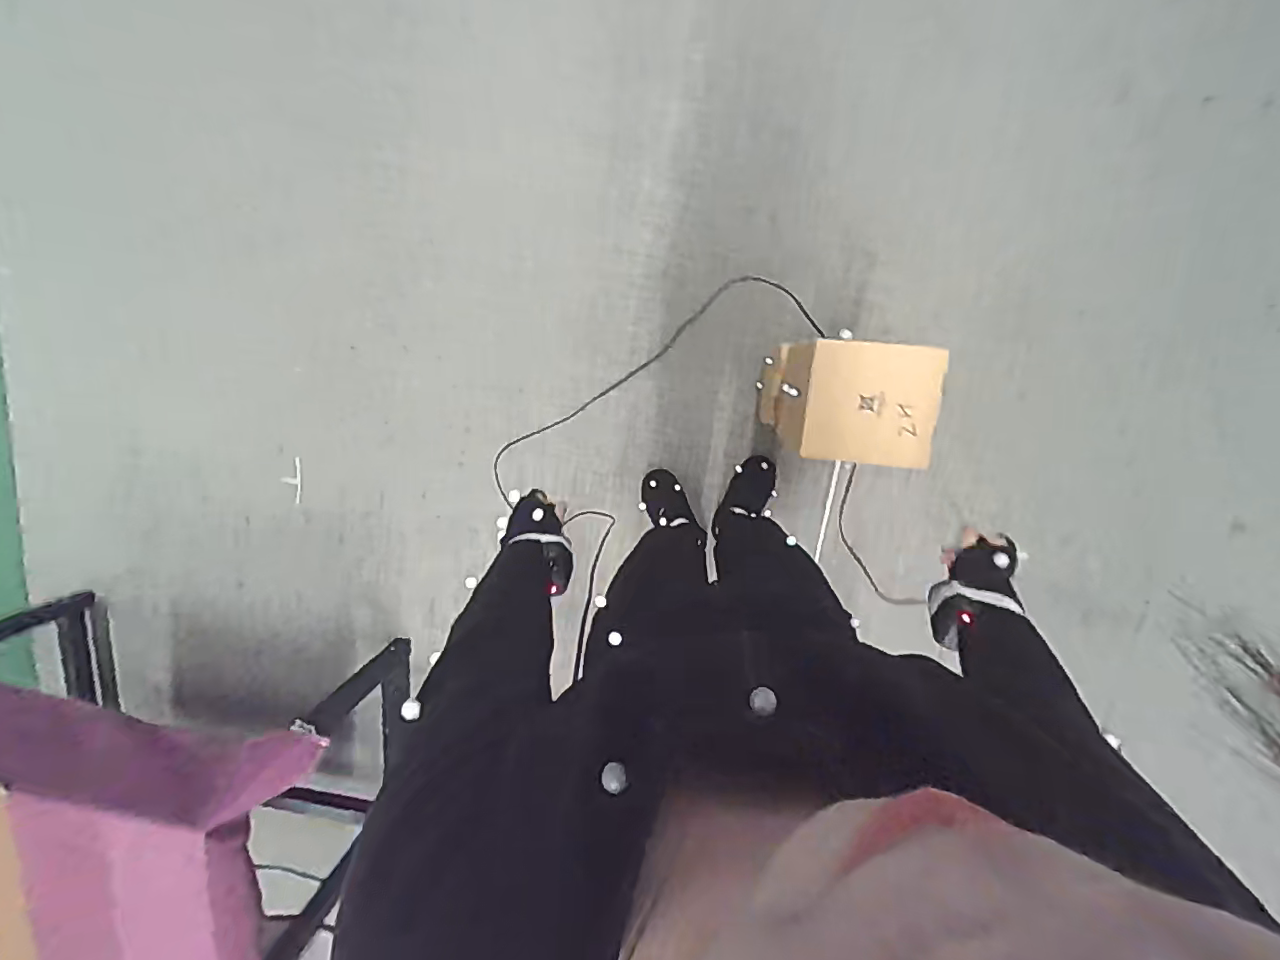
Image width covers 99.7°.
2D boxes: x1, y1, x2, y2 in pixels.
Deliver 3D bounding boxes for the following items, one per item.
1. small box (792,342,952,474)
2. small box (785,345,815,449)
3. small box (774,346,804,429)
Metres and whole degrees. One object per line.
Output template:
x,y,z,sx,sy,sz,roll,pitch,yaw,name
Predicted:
0.335,-0.112,0.821,0.179,0.176,0.168,7,101,8,small box
0.363,-0.144,0.981,0.168,0.176,0.179,6,100,8,small box
0.383,-0.186,1.137,0.179,0.176,0.168,6,101,7,small box
